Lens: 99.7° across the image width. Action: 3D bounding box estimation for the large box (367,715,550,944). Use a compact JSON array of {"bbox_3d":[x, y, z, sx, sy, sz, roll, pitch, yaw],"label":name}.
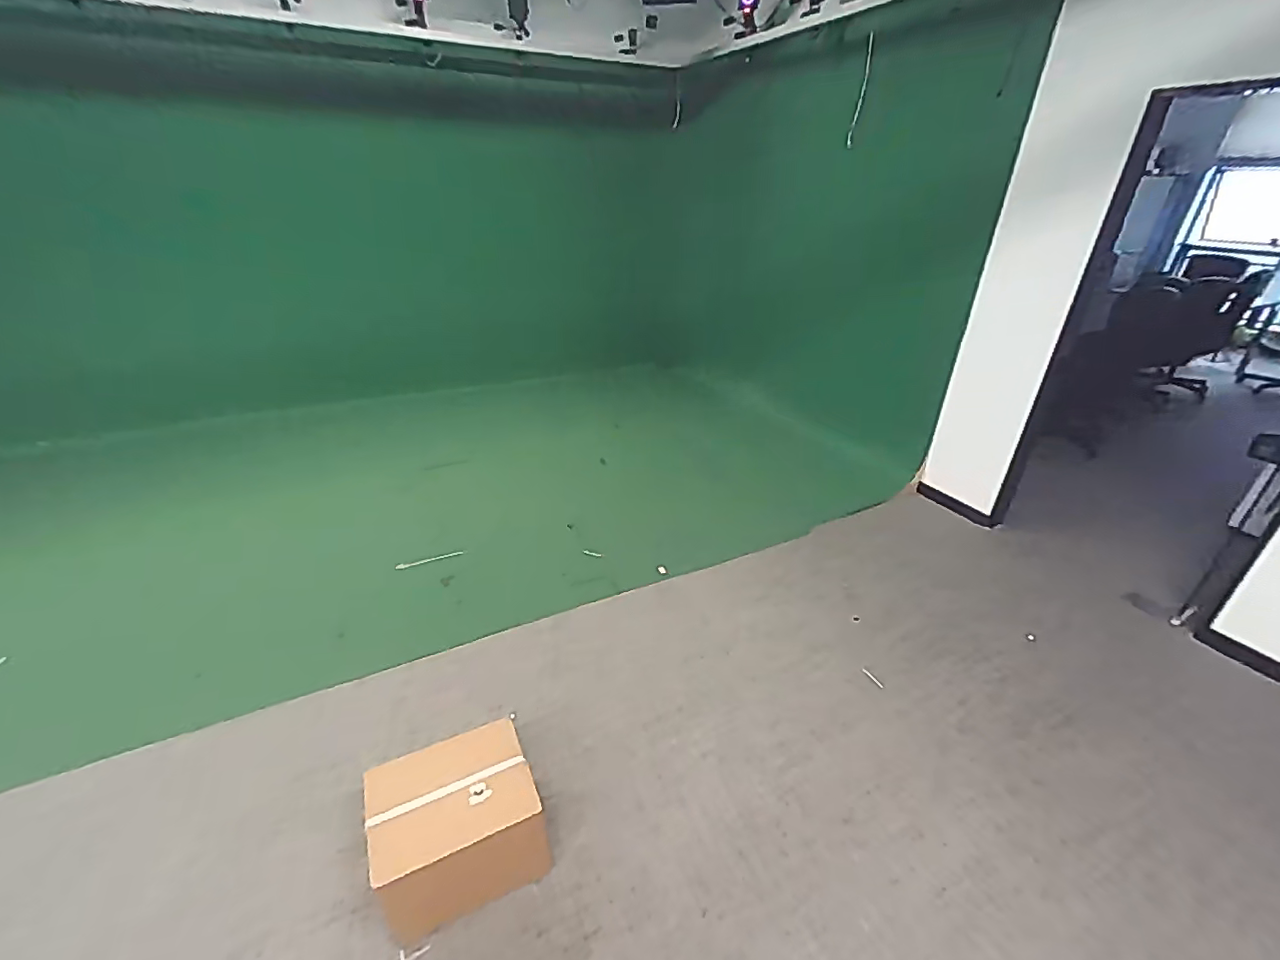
[{"bbox_3d":[-0.493,0.939,1.485,0.408,0.320,0.320,-12,32,-24],"label":"large box"}]
